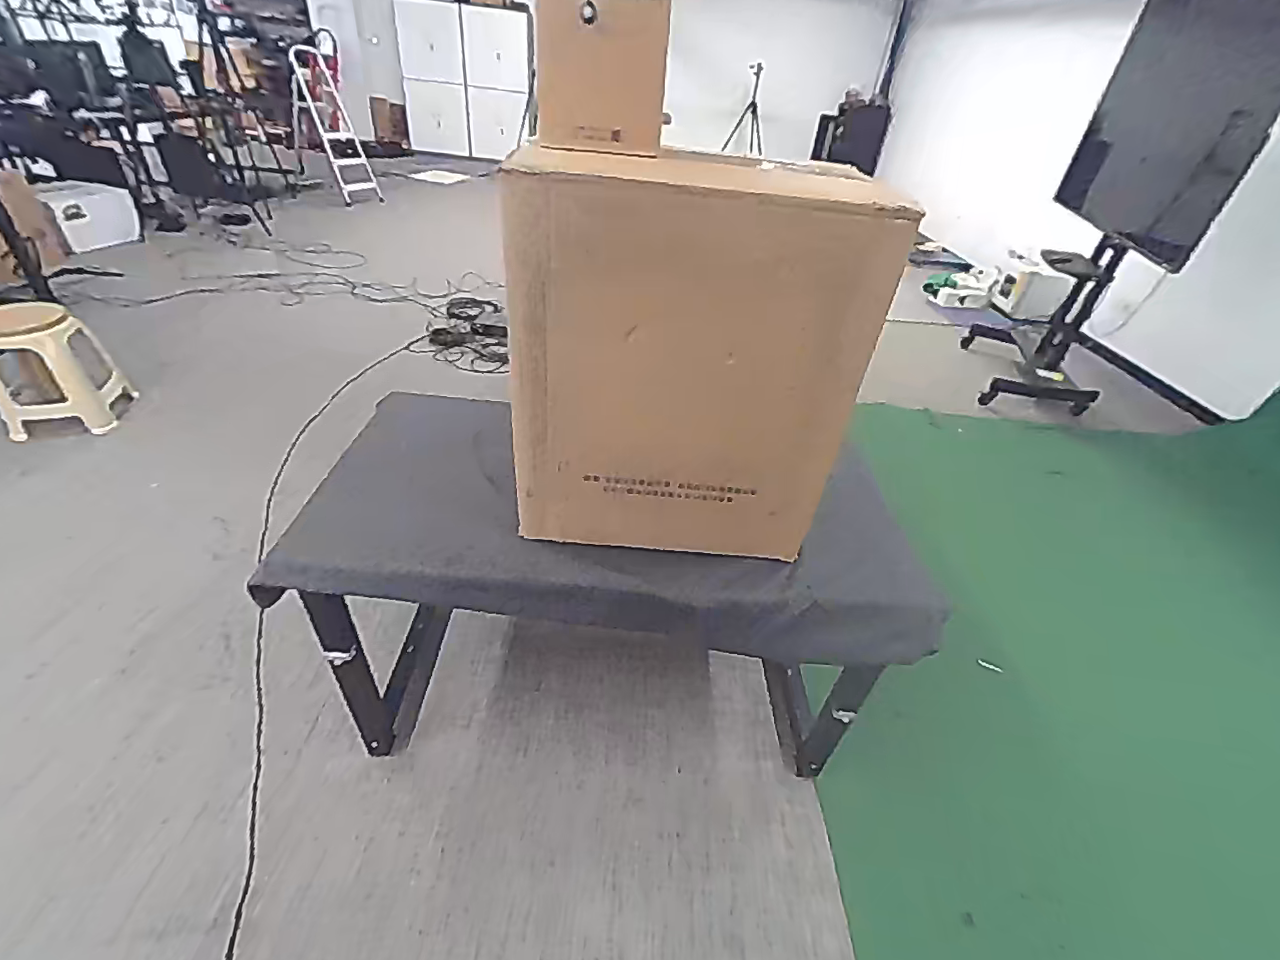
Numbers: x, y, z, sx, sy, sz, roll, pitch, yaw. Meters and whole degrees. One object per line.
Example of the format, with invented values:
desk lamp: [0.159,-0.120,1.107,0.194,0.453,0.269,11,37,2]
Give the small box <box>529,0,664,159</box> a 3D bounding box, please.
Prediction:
small box: [-0.057,-0.560,0.750,0.168,0.176,0.179,2,38,-2]
